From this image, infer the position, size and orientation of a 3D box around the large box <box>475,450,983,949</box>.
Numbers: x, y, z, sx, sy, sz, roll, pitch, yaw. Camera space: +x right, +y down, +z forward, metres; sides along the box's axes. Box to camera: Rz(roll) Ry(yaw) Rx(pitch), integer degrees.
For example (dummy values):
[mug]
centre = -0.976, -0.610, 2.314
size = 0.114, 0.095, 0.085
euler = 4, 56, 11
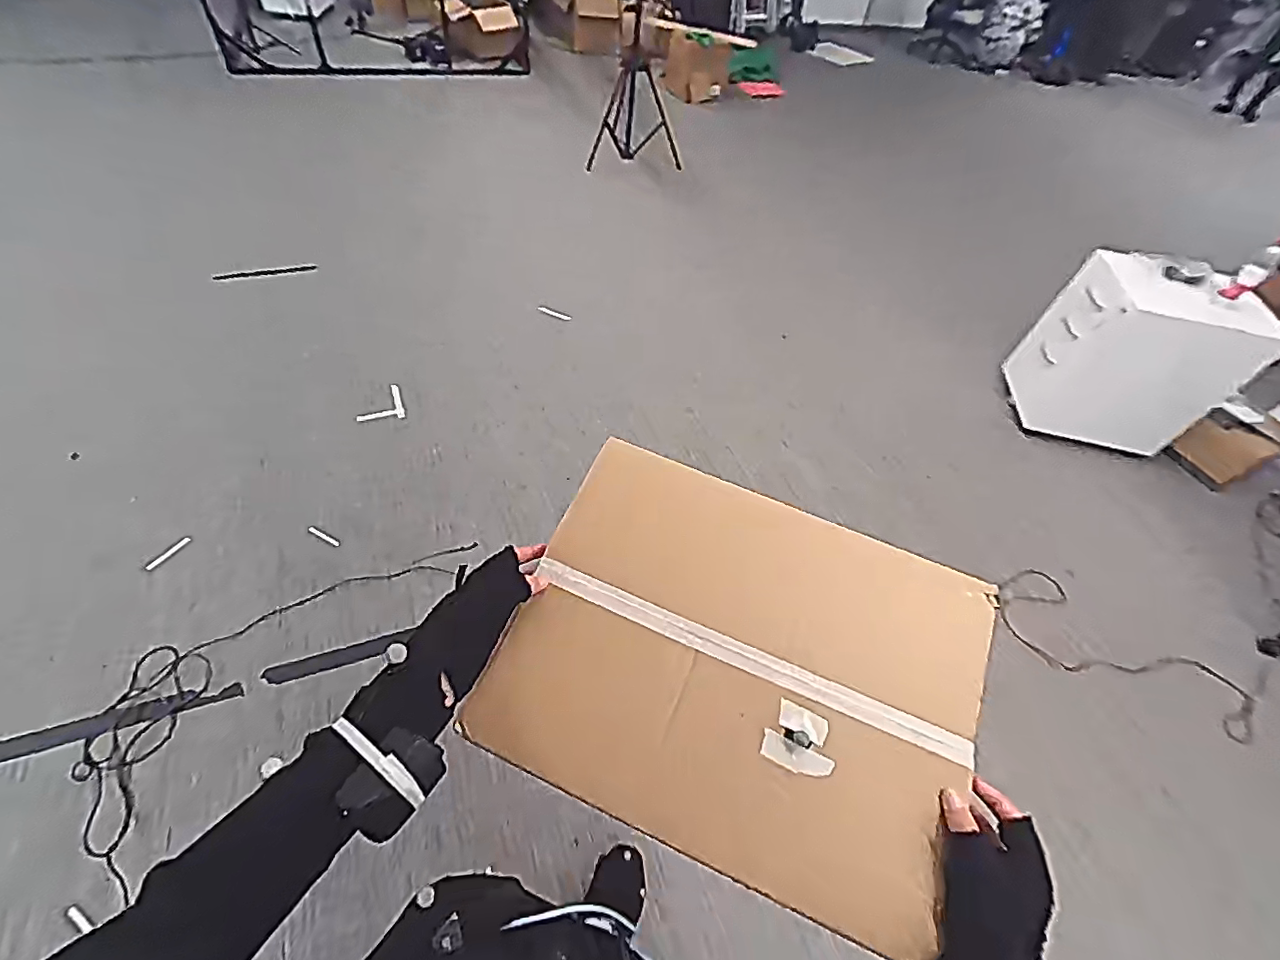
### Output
[large box]
centre = 0.090, 0.223, 0.630
size = 0.408, 0.320, 0.320
euler = 22, 67, 9
